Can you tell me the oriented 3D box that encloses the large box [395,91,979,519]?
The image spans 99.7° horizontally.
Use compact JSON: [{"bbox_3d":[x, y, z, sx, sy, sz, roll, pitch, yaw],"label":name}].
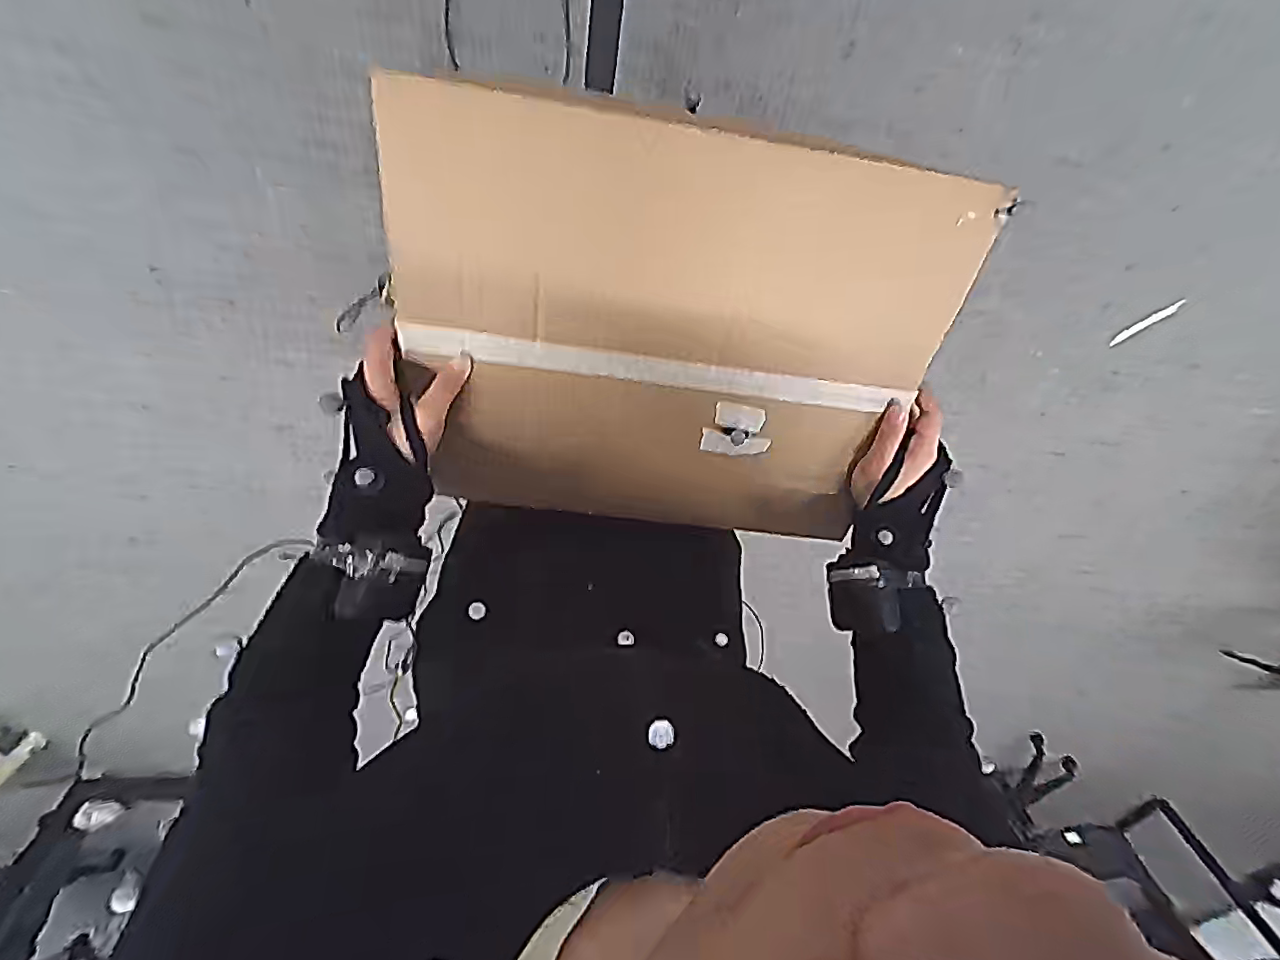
[{"bbox_3d":[0.015,-0.186,0.562,0.408,0.320,0.320,6,126,-7],"label":"large box"}]
